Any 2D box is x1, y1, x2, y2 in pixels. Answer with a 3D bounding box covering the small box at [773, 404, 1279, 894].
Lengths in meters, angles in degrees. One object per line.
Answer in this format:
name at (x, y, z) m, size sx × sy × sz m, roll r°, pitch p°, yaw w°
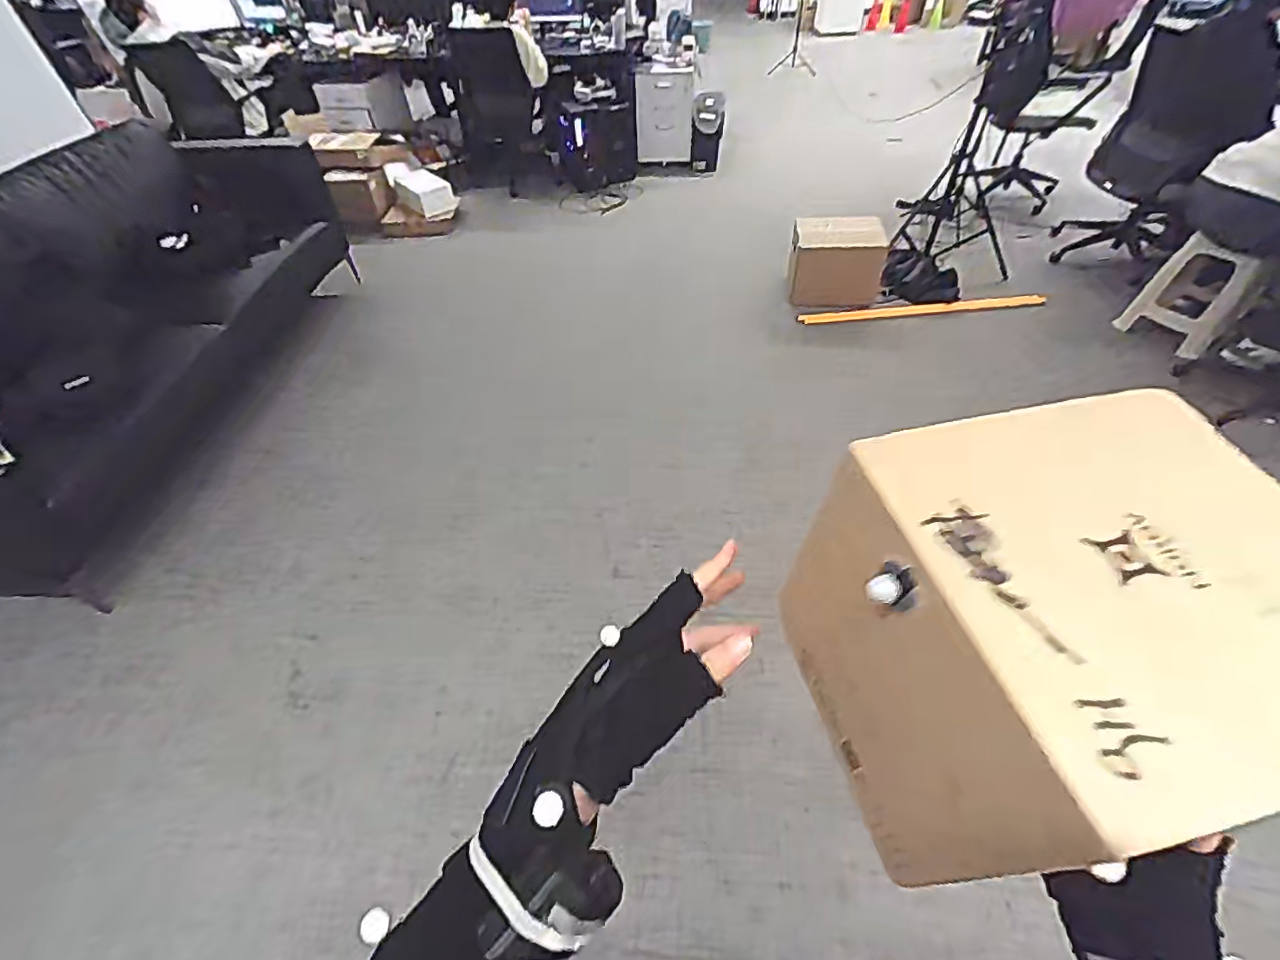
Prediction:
small box at (0.190, 0.086, 0.274) m, size 0.179 × 0.176 × 0.168 m, roll -9°, pitch 50°, yaw -9°
